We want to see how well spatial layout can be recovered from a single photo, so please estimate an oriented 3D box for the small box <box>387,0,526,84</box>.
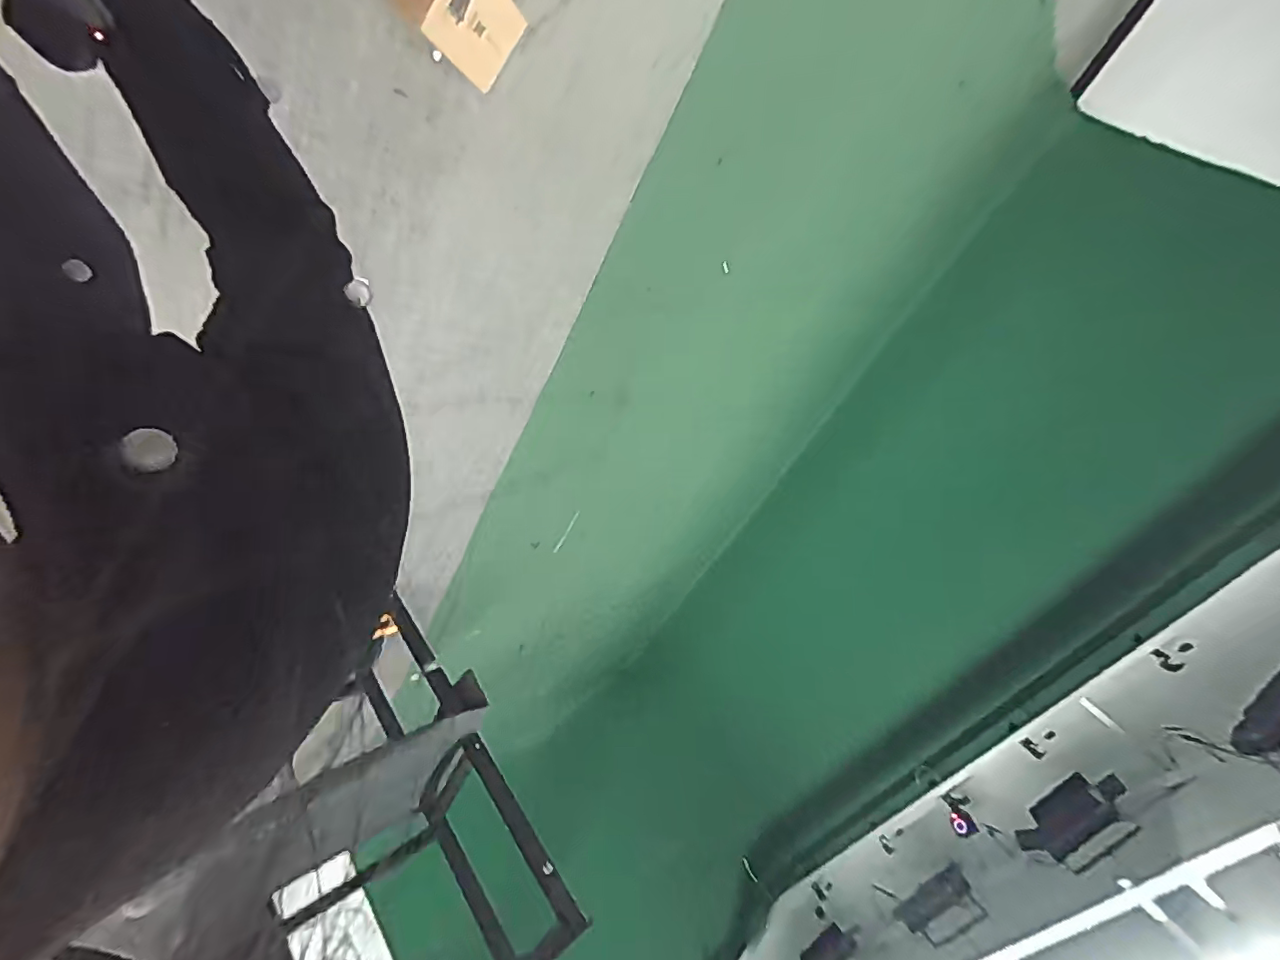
[{"bbox_3d":[-0.371,-0.950,1.074,0.168,0.176,0.179,-50,155,14],"label":"small box"}]
